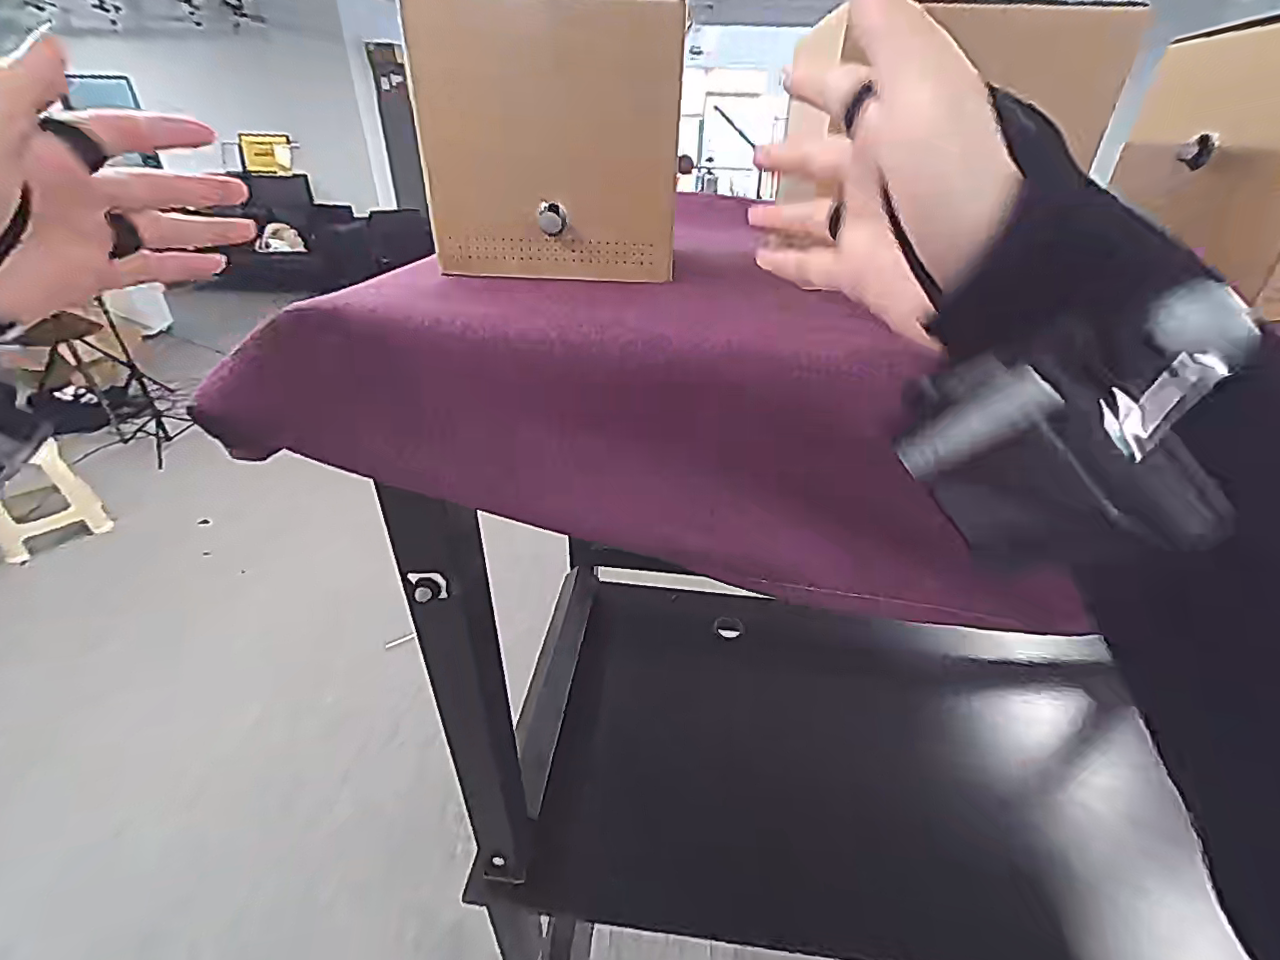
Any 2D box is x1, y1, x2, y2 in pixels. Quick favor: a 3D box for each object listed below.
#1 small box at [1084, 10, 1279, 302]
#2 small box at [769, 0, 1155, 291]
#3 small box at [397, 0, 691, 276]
[{"bbox_3d":[0.477,-0.218,0.378,0.168,0.176,0.179,2,31,0],"label":"small box"},{"bbox_3d":[0.209,-0.248,0.416,0.179,0.176,0.168,3,31,2],"label":"small box"},{"bbox_3d":[-0.060,-0.262,0.422,0.179,0.176,0.168,3,32,-1],"label":"small box"}]
